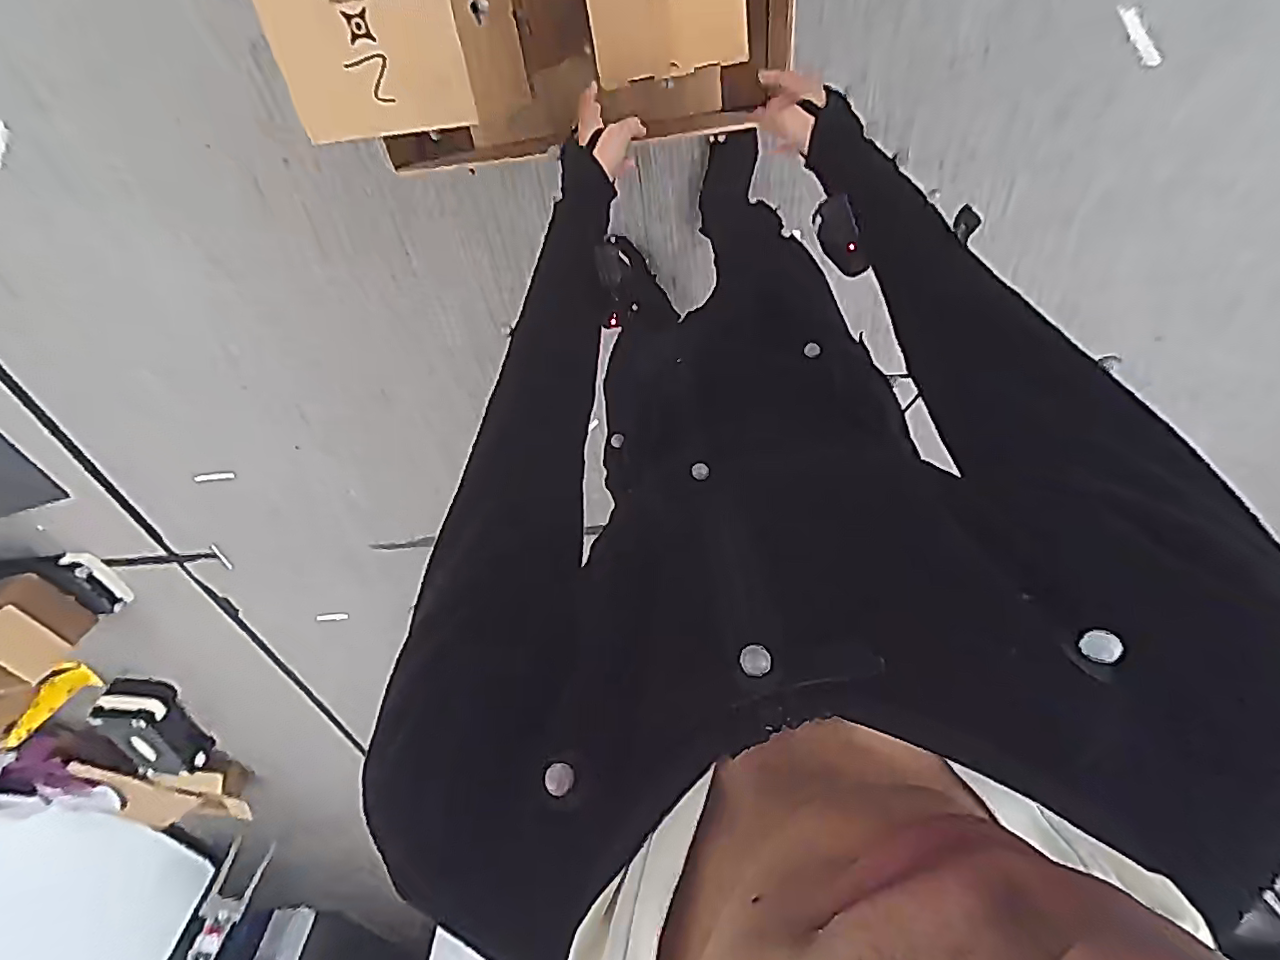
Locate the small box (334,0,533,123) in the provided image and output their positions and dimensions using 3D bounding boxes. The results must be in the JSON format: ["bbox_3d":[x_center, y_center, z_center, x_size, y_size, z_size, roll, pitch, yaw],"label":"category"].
[{"bbox_3d":[-0.236,-0.538,0.640,0.168,0.176,0.179,-4,126,6],"label":"small box"}]

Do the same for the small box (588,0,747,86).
[{"bbox_3d":[0.025,-0.566,0.610,0.168,0.176,0.179,-7,128,7],"label":"small box"}]
